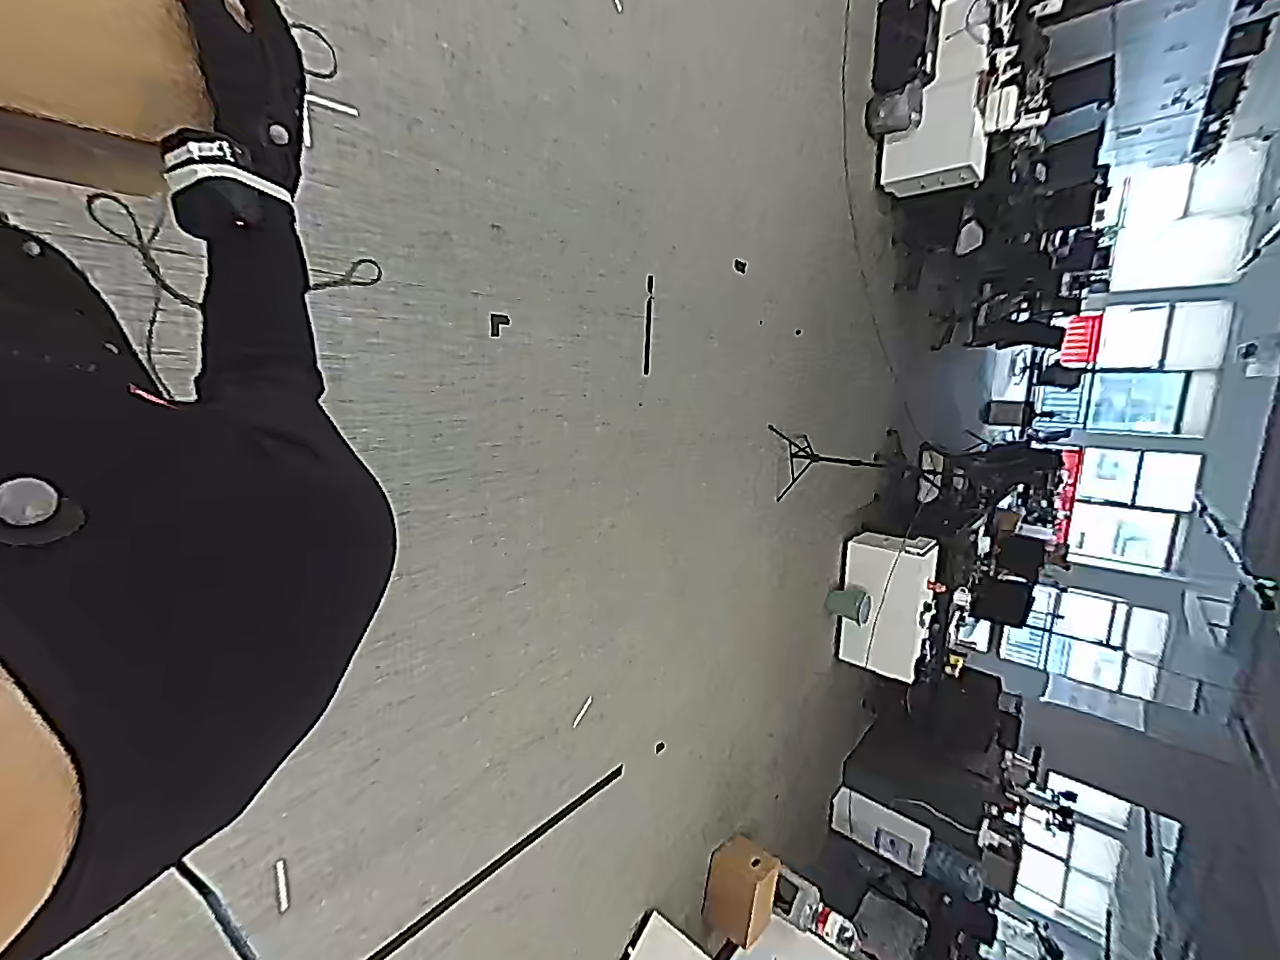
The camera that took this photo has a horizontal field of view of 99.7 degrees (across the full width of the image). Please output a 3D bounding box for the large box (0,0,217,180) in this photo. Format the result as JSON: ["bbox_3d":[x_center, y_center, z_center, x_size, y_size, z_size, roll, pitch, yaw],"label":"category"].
[{"bbox_3d":[-0.574,-0.423,0.343,0.408,0.320,0.320,-13,114,-49],"label":"large box"}]
